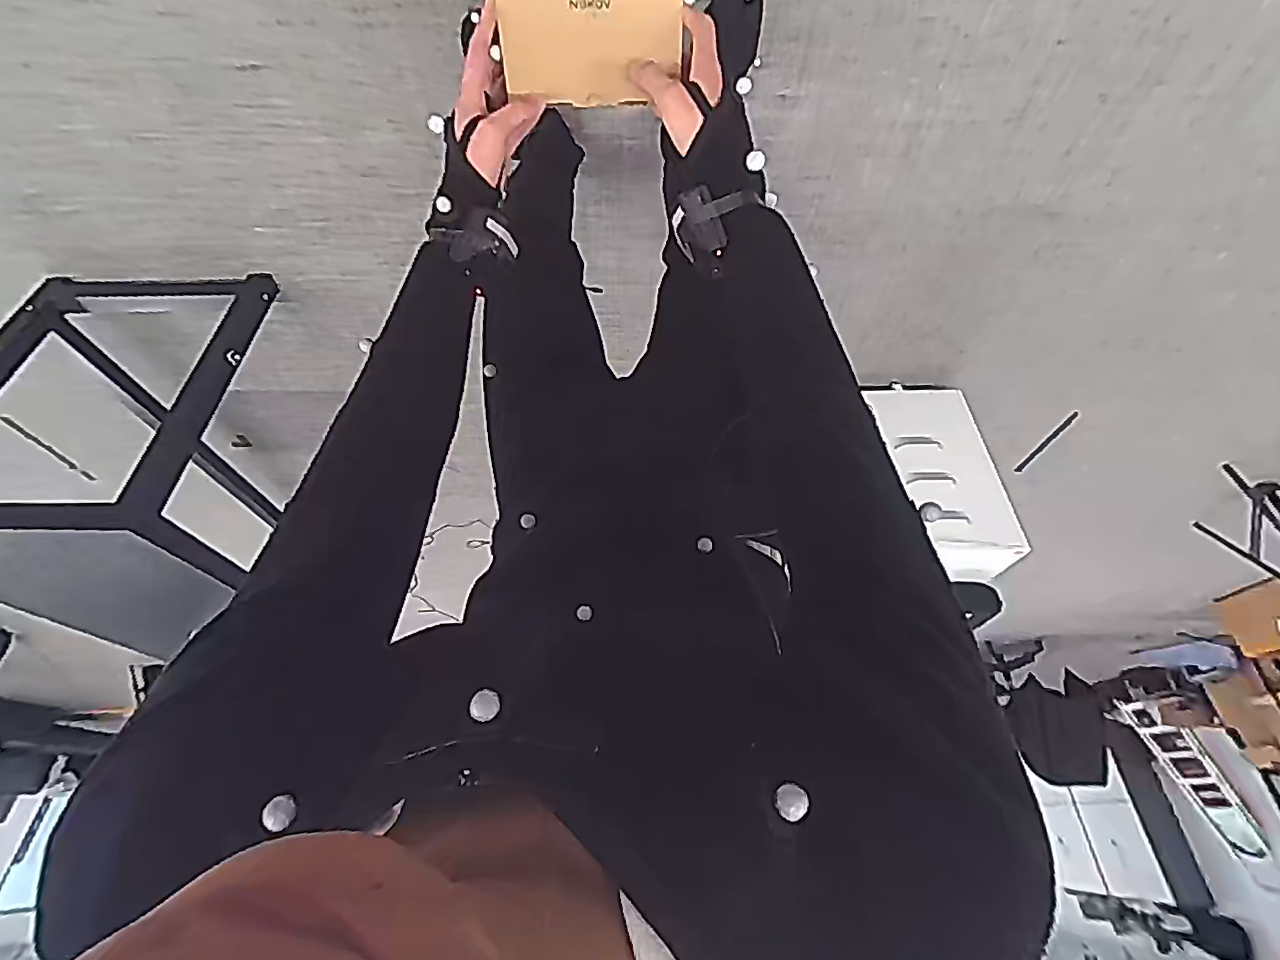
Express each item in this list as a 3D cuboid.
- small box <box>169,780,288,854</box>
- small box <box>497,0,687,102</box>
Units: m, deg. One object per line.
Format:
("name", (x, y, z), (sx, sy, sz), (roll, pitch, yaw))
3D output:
("small box", (-1.116, 0.922, 1.485), (0.179, 0.176, 0.168), (-1, 148, 0))
("small box", (-0.047, -0.475, 0.513), (0.168, 0.176, 0.179), (-3, 132, -3))
